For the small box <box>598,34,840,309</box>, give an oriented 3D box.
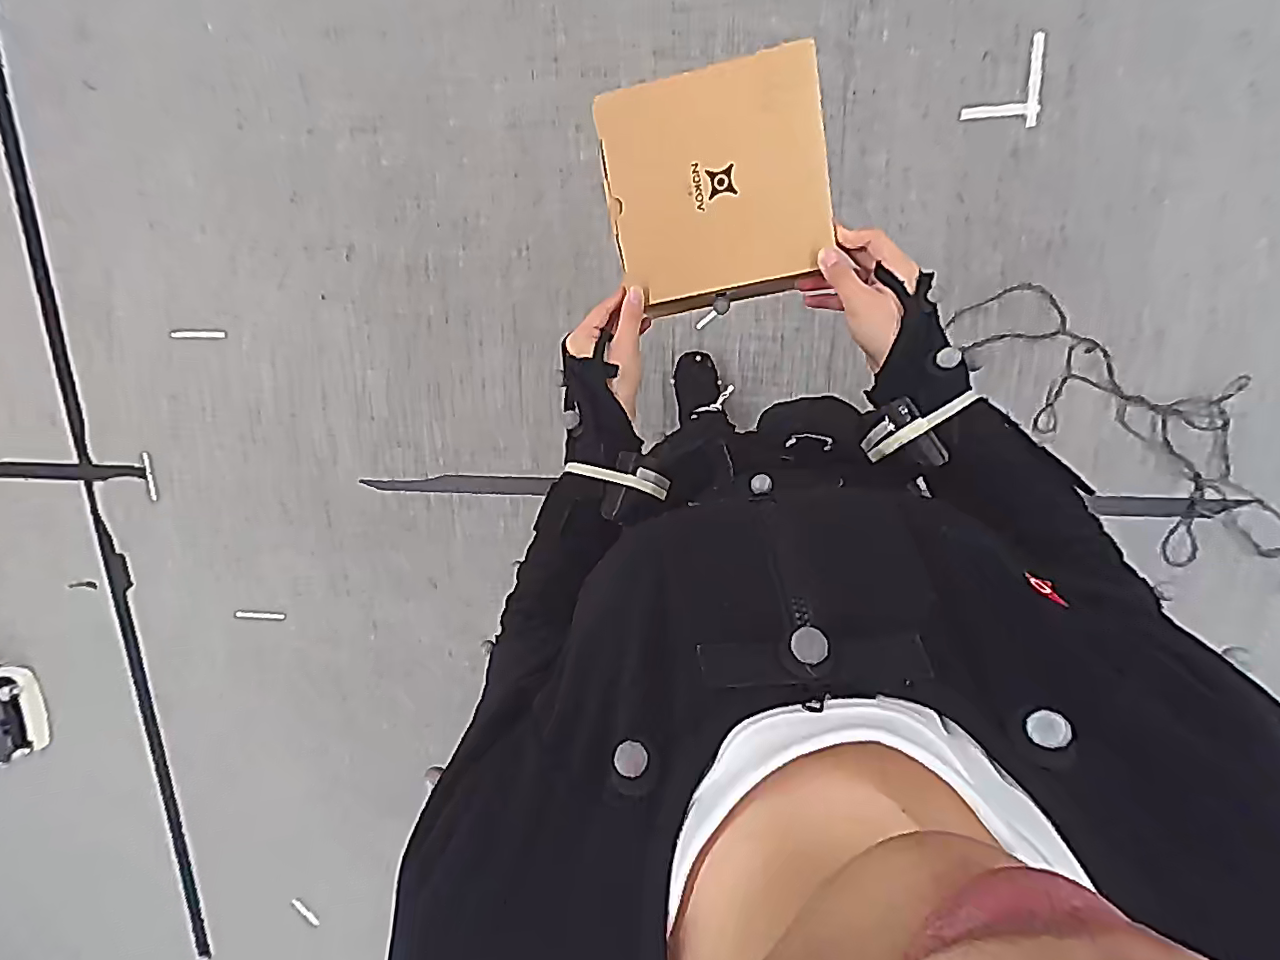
[{"bbox_3d":[0.073,-0.262,0.507,0.179,0.176,0.168,-8,103,10],"label":"small box"}]
